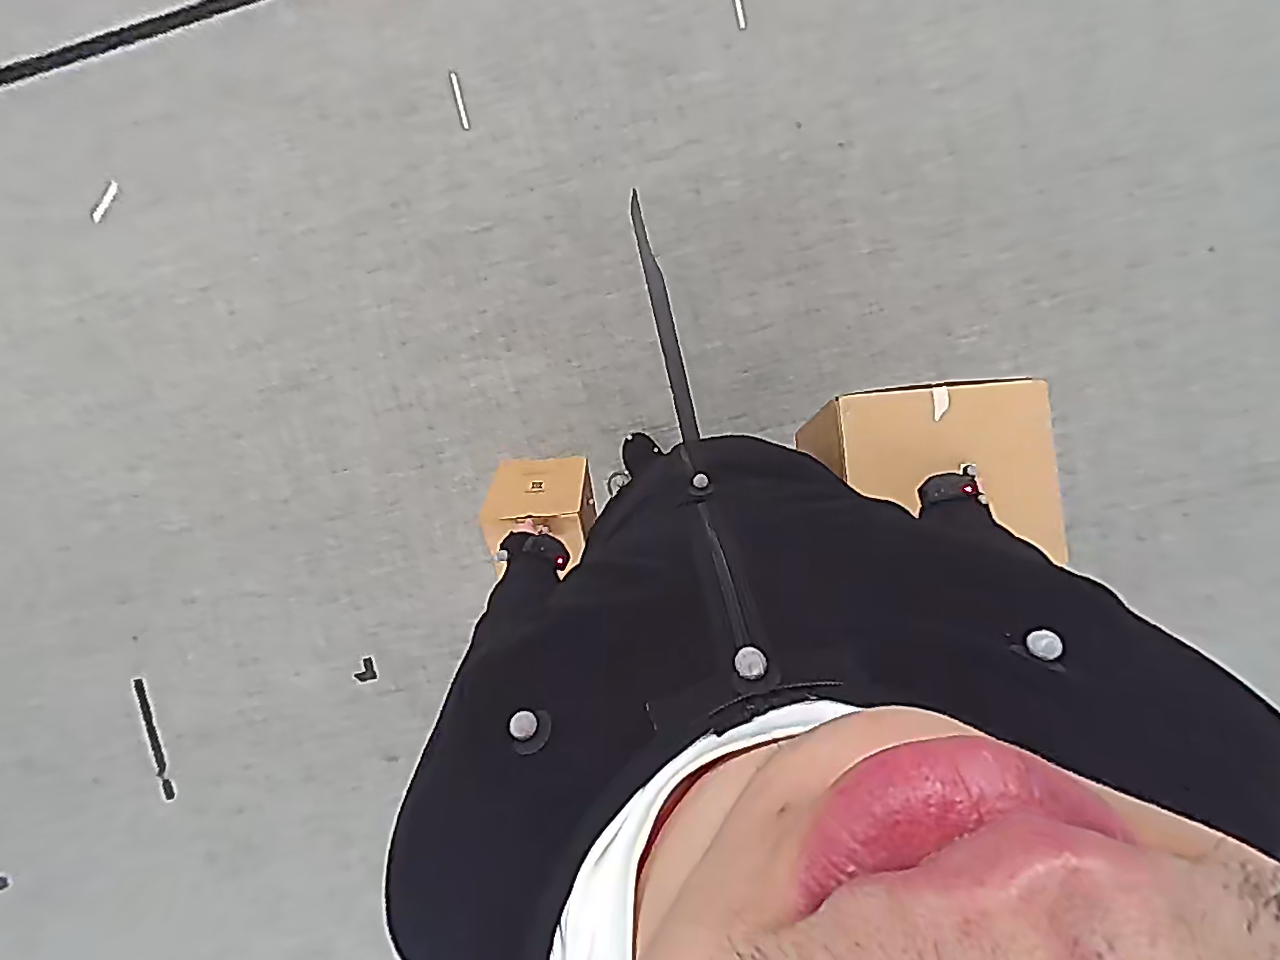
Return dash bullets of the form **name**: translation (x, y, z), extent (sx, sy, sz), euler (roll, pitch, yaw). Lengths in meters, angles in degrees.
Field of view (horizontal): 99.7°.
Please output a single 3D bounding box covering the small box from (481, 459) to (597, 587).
- **small box**: translation (-0.173, 0.083, 0.992), extent (0.168, 0.179, 0.176), euler (-4, 124, 2)
